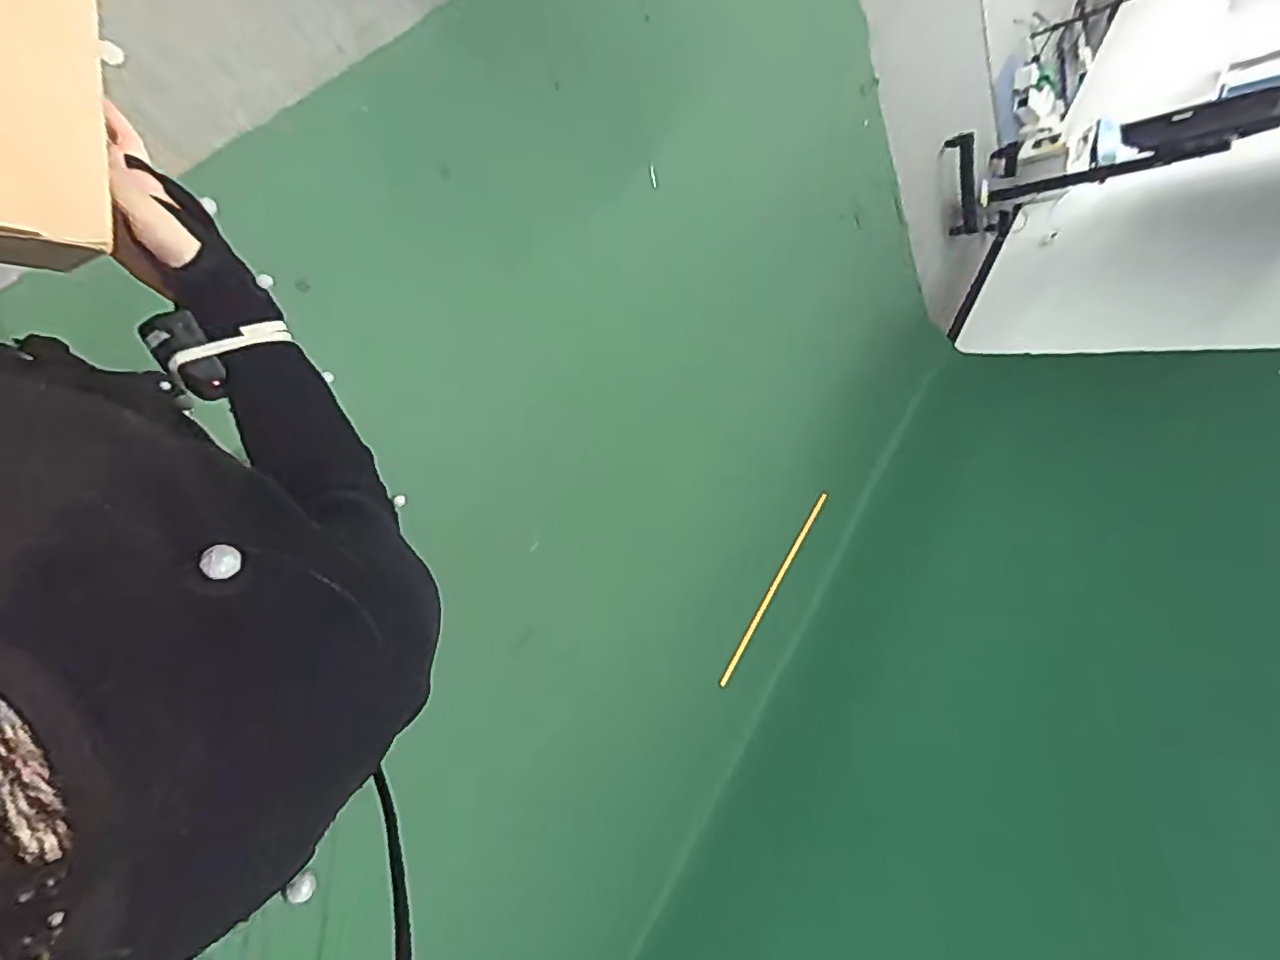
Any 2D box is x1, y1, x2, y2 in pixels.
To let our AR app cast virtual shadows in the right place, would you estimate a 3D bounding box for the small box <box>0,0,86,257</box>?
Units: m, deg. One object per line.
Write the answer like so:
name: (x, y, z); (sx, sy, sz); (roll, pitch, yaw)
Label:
small box: (-0.440, -0.238, 0.297); (0.168, 0.176, 0.179); (-6, 104, -53)
